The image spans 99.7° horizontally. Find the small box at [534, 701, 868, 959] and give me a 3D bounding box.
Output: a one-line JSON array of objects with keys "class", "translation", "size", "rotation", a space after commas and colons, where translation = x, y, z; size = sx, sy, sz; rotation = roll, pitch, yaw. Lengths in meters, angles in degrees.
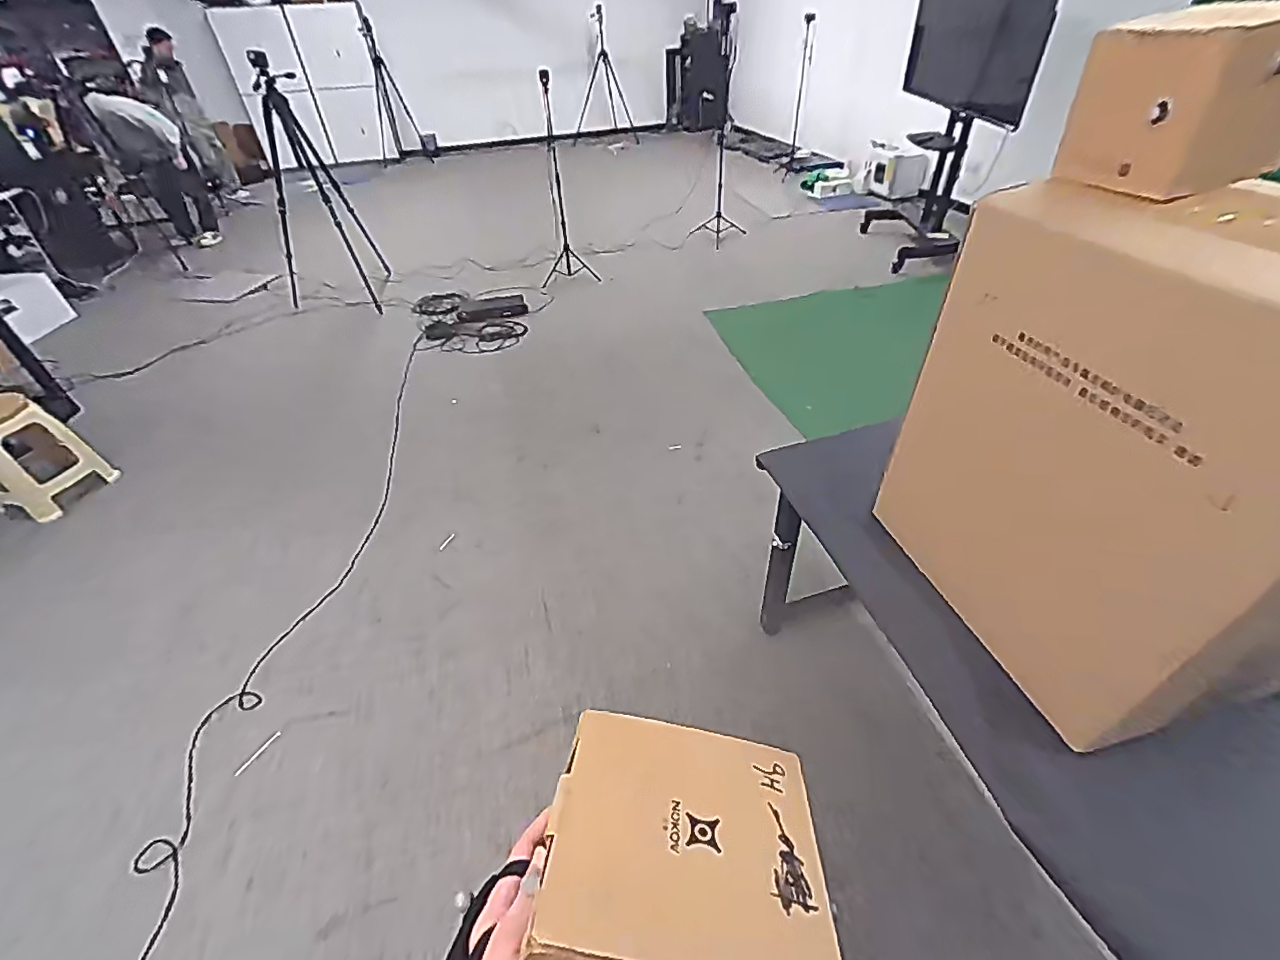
[{"class": "small box", "translation": [0.026, 0.288, 0.369], "size": [0.179, 0.176, 0.168], "rotation": [11, 20, 1]}]

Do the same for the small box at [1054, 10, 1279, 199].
[{"class": "small box", "translation": [0.672, -0.470, 0.681], "size": [0.179, 0.176, 0.168], "rotation": [-16, 42, -9]}]
